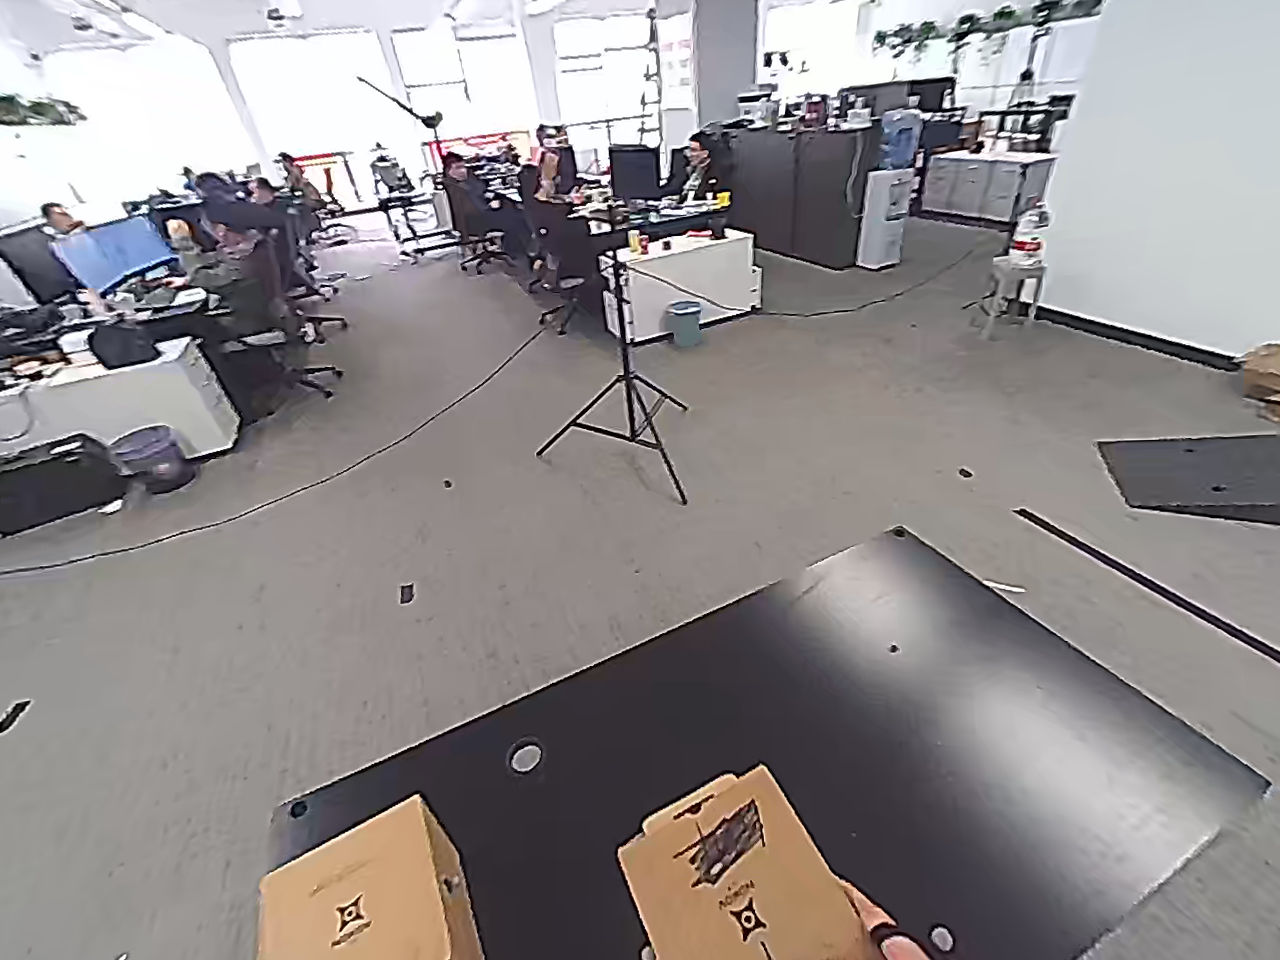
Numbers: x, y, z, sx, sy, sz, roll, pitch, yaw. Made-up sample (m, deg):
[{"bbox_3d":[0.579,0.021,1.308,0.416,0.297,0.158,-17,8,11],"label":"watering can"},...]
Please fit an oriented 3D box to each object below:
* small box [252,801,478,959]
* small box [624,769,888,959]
[{"bbox_3d":[-0.278,0.495,0.568,0.168,0.176,0.179,-21,37,-22],"label":"small box"},{"bbox_3d":[0.097,0.418,0.507,0.168,0.176,0.179,-22,46,-15],"label":"small box"}]
